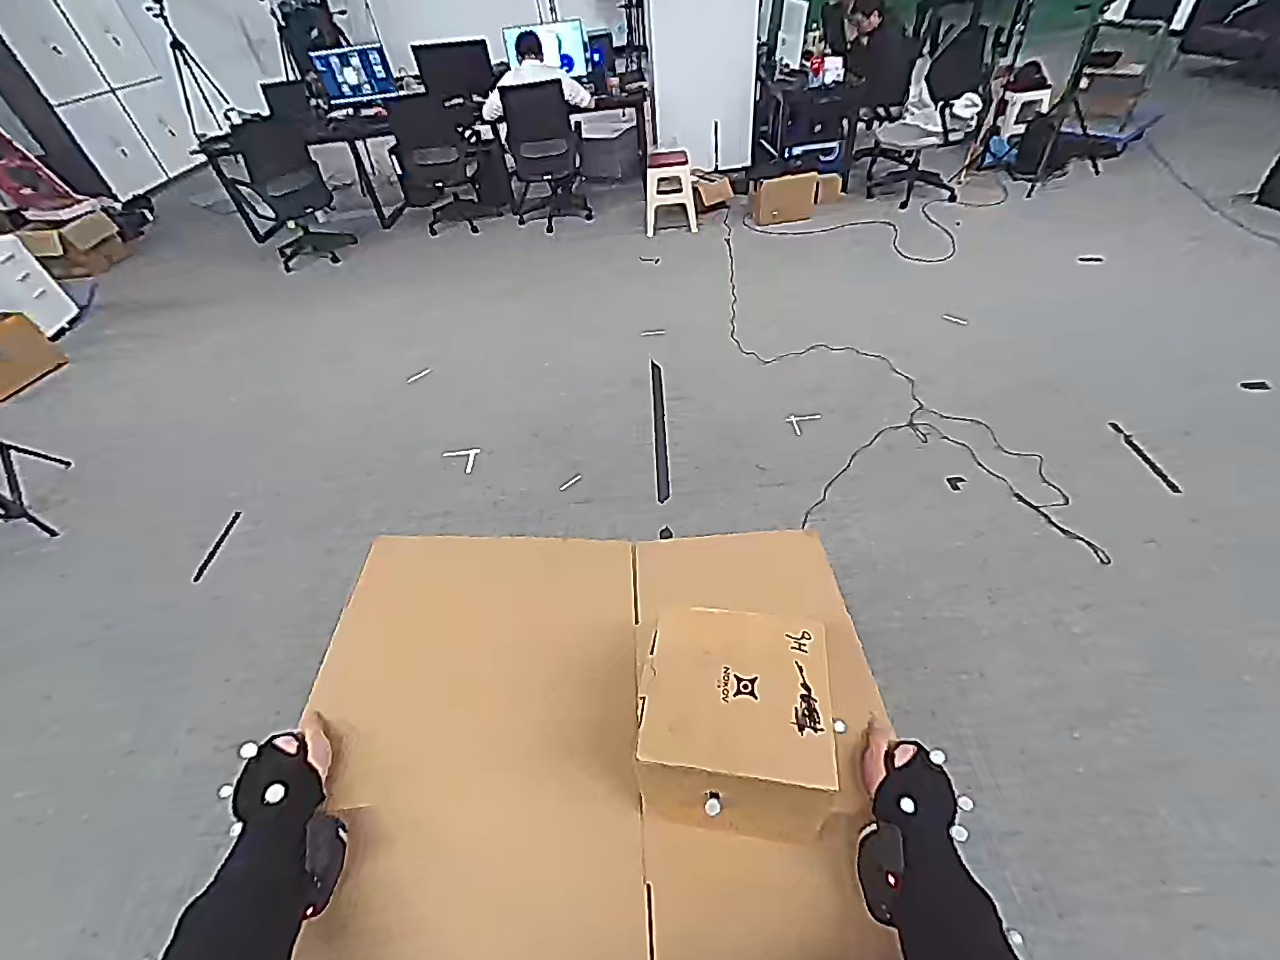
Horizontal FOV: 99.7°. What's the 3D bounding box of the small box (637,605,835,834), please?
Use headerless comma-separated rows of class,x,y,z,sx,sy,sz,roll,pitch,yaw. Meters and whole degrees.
small box,0.103,0.257,0.582,0.179,0.176,0.168,3,44,11
